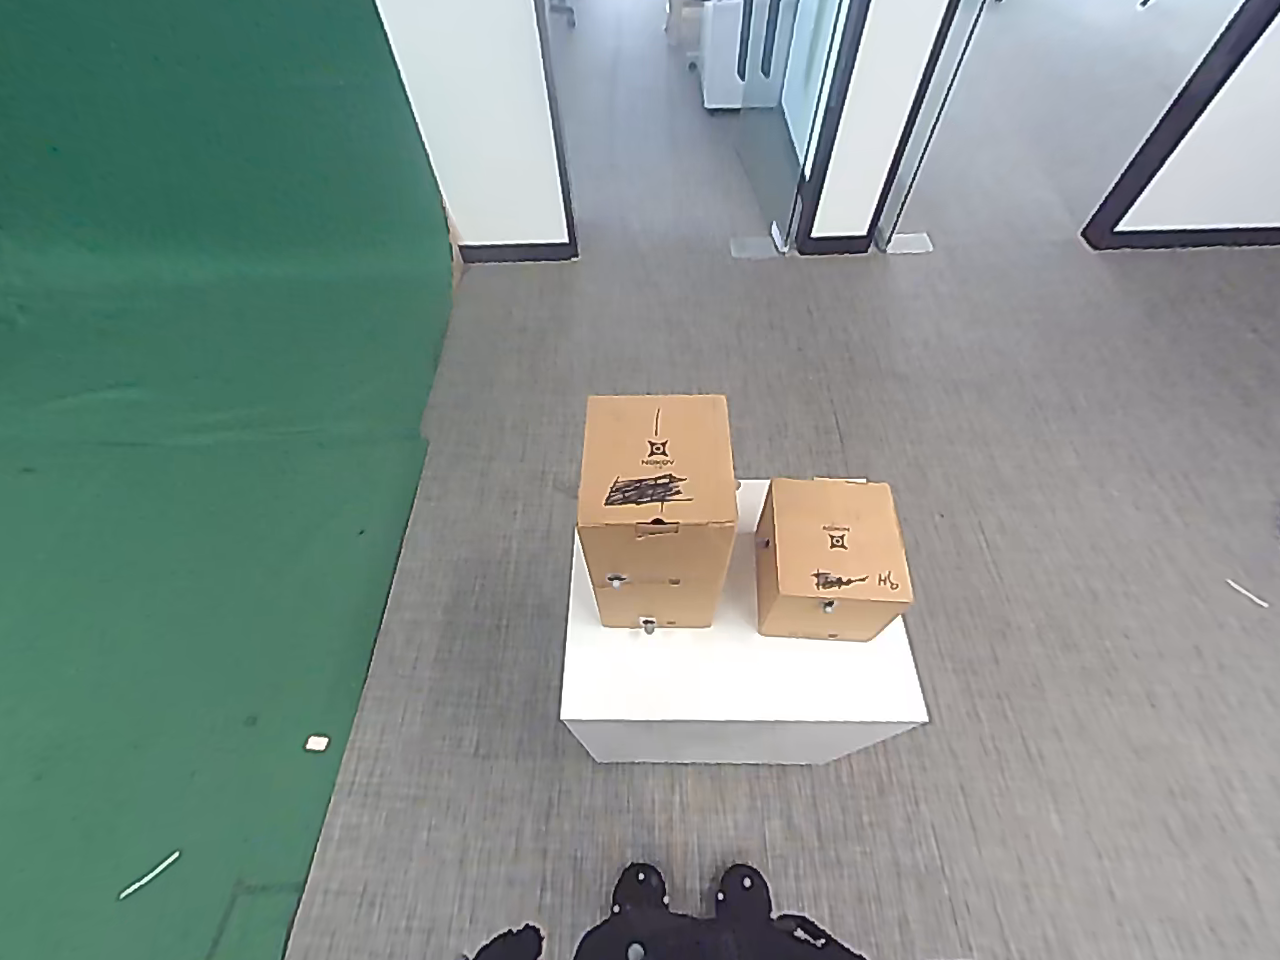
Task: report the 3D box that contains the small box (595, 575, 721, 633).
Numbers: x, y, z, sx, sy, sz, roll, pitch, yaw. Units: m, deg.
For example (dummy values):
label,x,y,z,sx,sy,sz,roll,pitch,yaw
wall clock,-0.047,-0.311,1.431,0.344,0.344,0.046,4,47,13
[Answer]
label,x,y,z,sx,sy,sz,roll,pitch,yaw
small box,0.025,0.115,0.803,0.168,0.176,0.179,-2,58,2

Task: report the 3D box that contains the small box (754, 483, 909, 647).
label,x,y,z,sx,sy,sz,roll,pitch,yaw
small box,0.261,0.125,0.785,0.168,0.176,0.179,3,56,4

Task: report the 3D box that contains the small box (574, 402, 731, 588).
label,x,y,z,sx,sy,sz,roll,pitch,yaw
small box,0.019,0.024,0.666,0.168,0.176,0.179,0,56,2
